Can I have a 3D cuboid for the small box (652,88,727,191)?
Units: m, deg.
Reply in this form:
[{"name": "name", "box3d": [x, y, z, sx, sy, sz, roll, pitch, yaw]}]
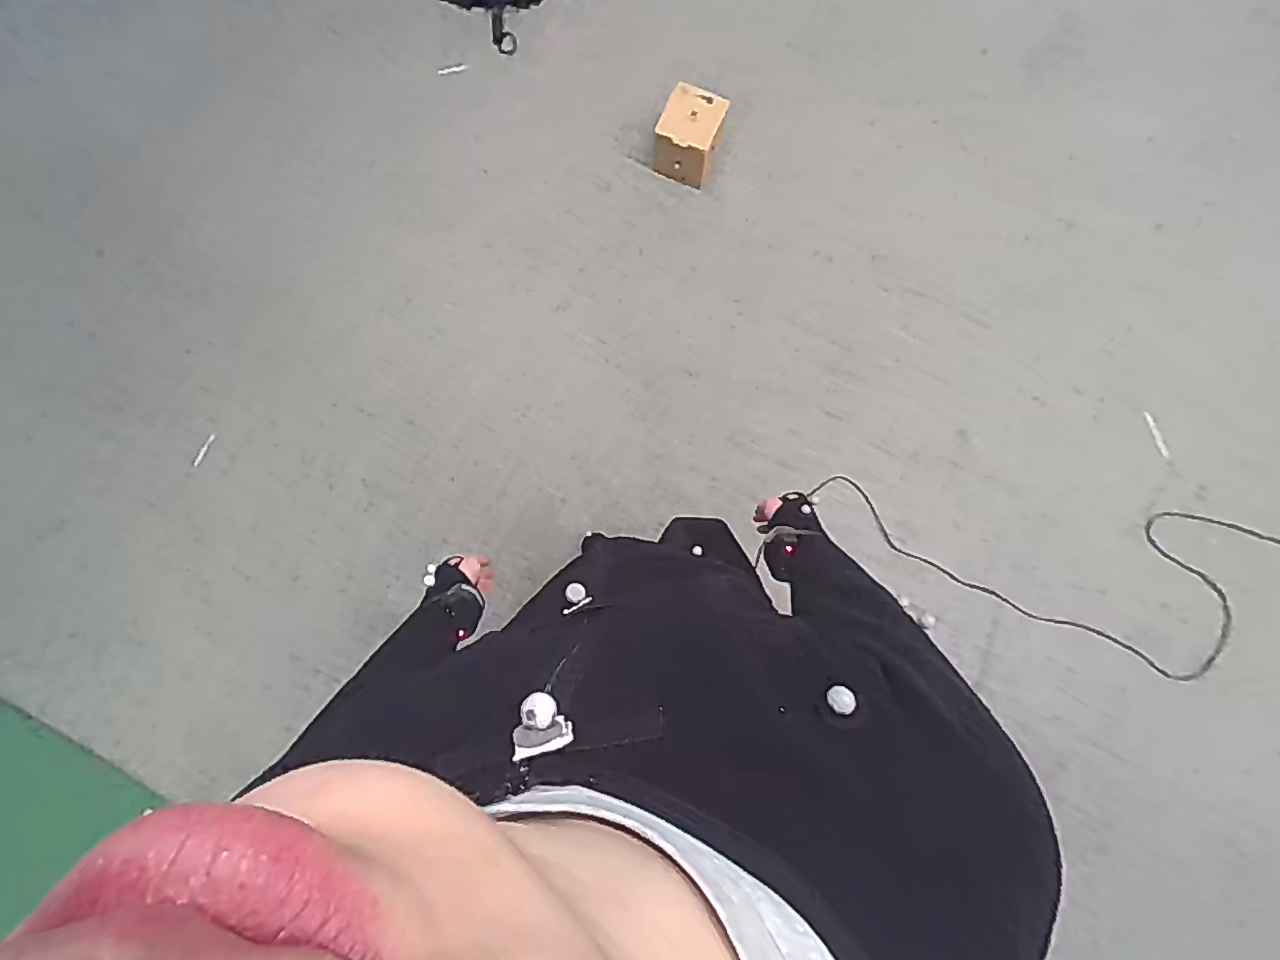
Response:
[{"name": "small box", "box3d": [0.146, -1.015, 1.626, 0.168, 0.176, 0.179, 24, 85, 4]}]
